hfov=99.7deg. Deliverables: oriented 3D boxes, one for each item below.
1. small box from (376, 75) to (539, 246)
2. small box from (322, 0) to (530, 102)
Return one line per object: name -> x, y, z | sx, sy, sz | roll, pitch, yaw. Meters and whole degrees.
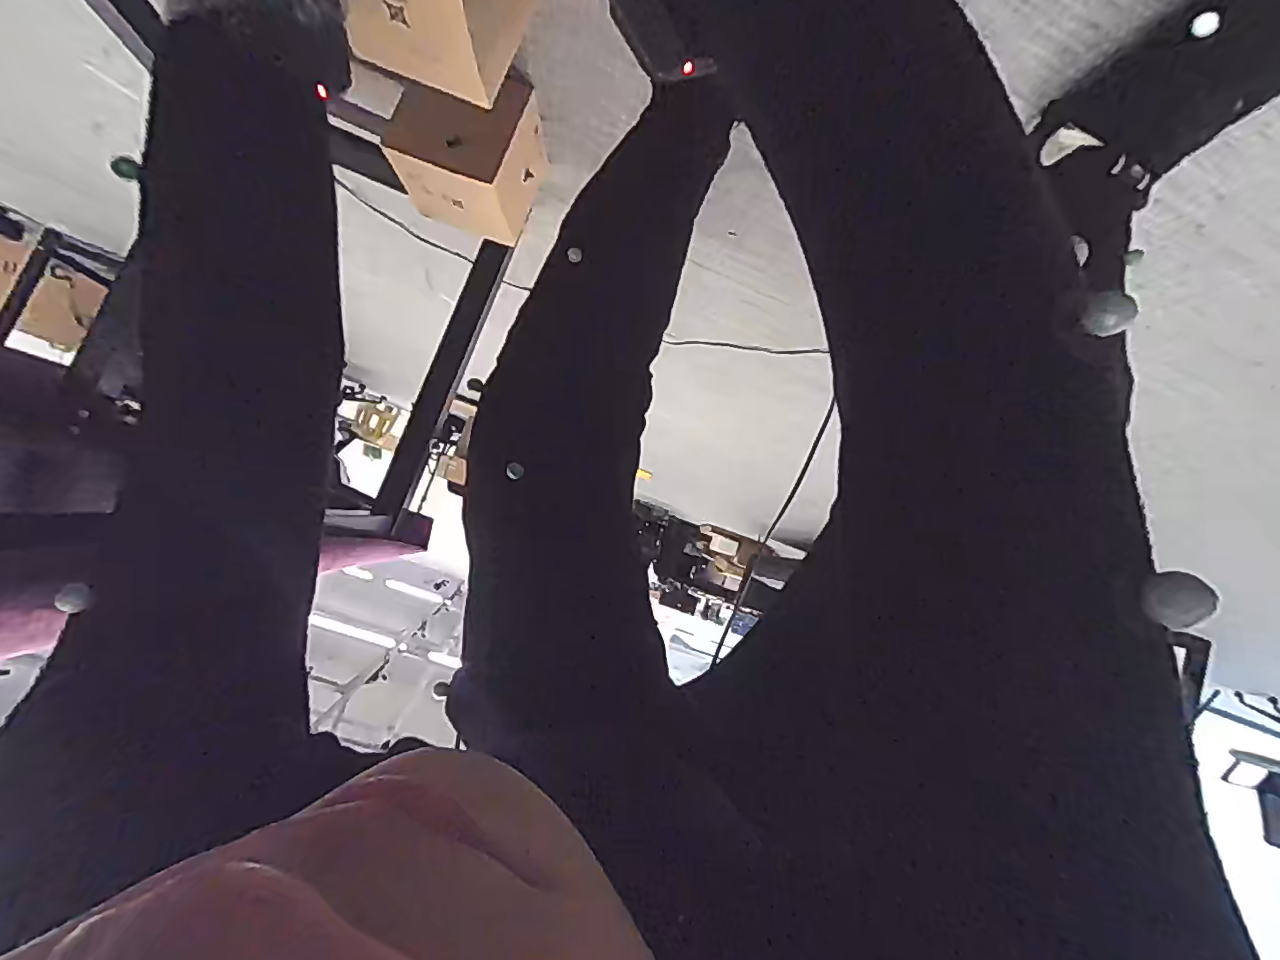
small box -> -0.265, -0.505, 0.837 | 0.179, 0.176, 0.168 | 20, 172, -1
small box -> -0.211, -0.533, 0.524 | 0.168, 0.176, 0.179 | 20, 173, -2
